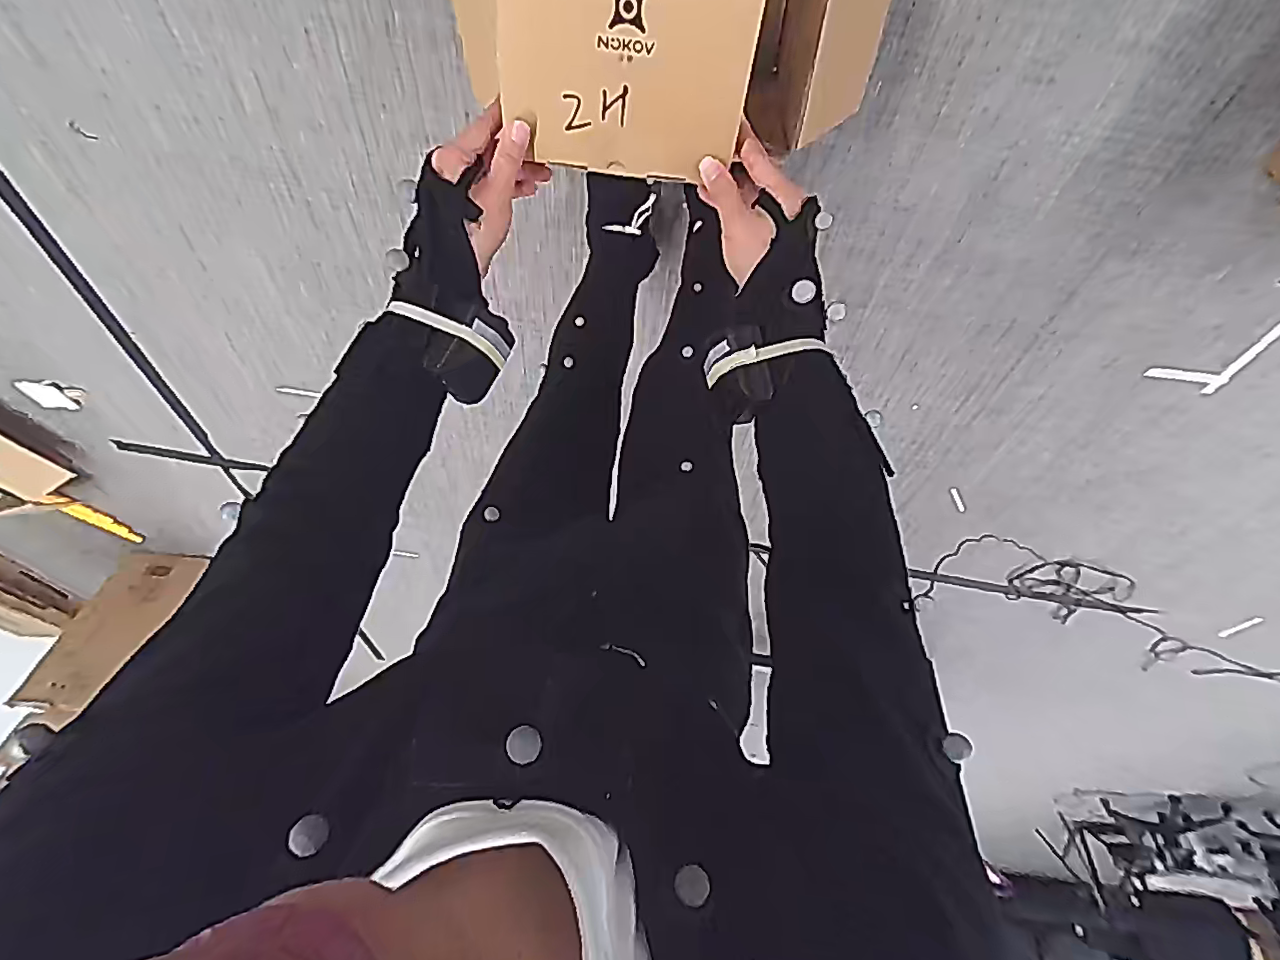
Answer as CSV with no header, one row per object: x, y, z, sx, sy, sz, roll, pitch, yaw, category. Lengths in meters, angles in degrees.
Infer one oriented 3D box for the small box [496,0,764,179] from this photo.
-0.003,-0.348,0.383,0.168,0.176,0.179,7,141,-1,small box
